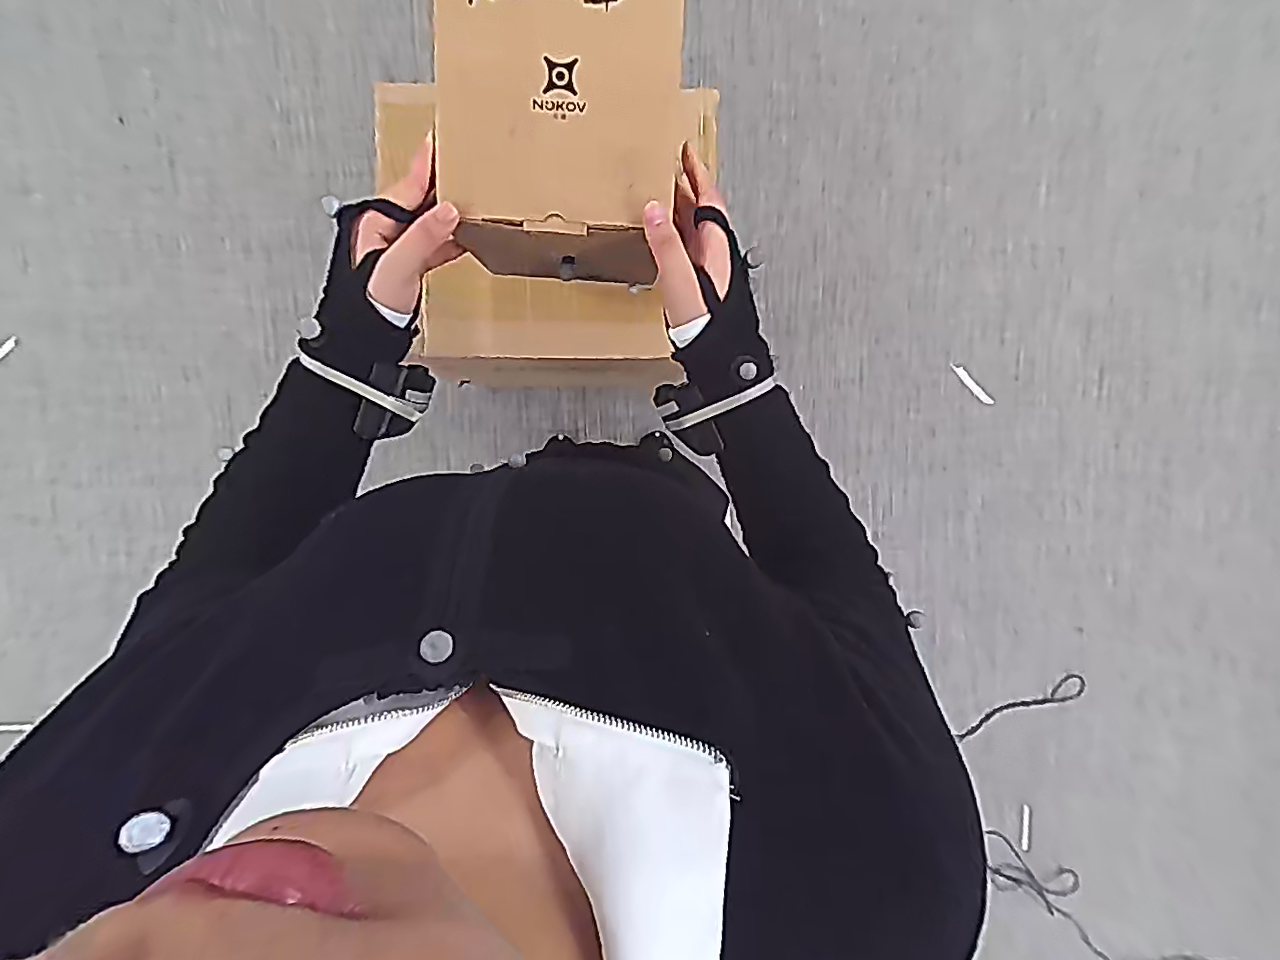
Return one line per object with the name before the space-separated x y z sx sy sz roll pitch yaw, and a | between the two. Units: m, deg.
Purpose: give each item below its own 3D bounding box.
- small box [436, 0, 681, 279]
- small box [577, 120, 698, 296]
small box | -0.059 -0.274 0.448 0.168 0.176 0.179 2 99 -3
small box | -0.011 -0.370 0.758 0.168 0.176 0.179 0 95 -1
